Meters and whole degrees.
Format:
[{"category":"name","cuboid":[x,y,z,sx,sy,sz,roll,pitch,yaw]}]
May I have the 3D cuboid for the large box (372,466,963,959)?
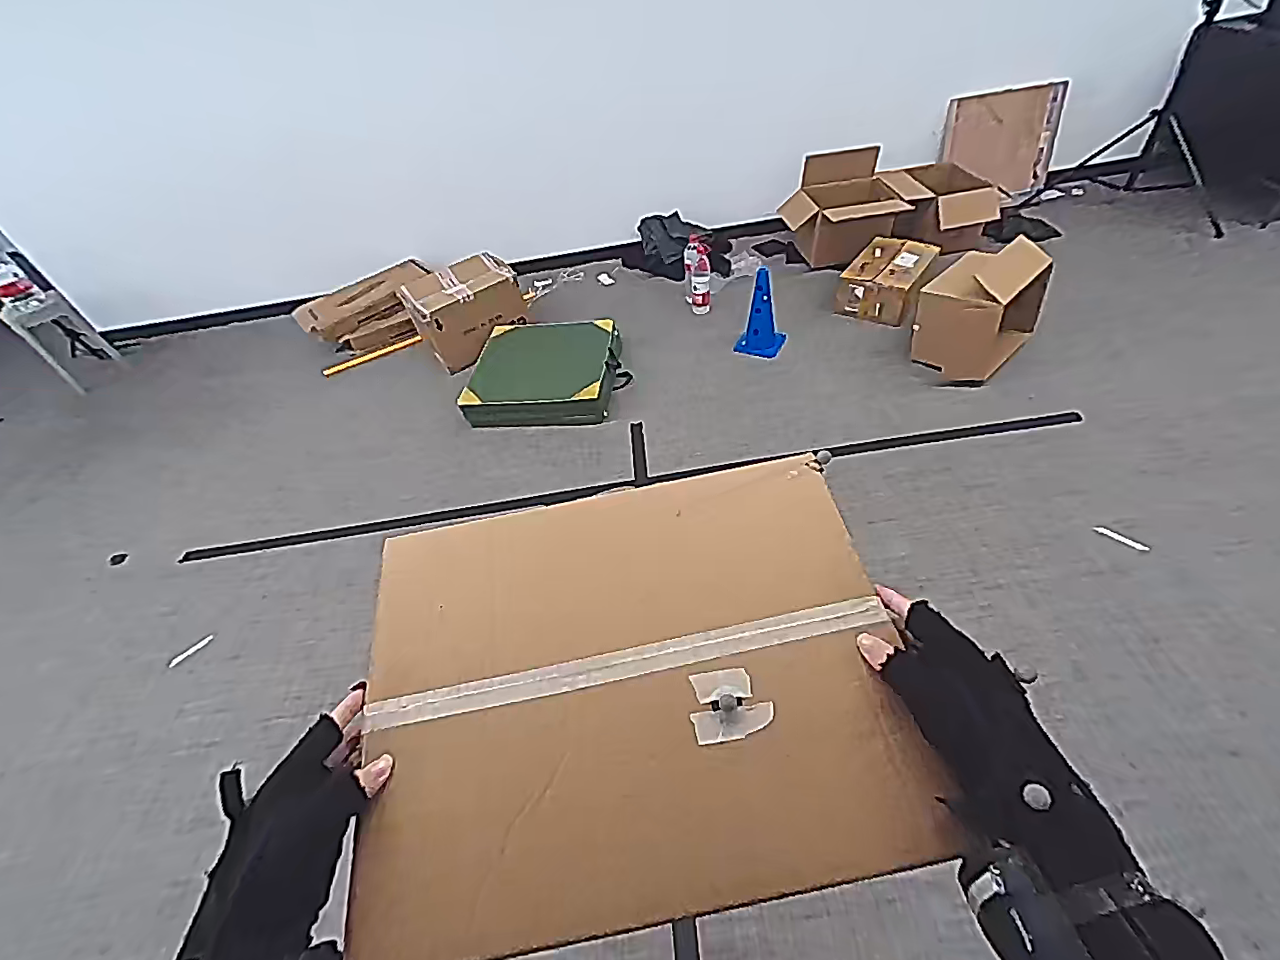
[{"category":"large box","cuboid":[0.007,0.233,0.554,0.408,0.320,0.320,-11,56,-1]}]
